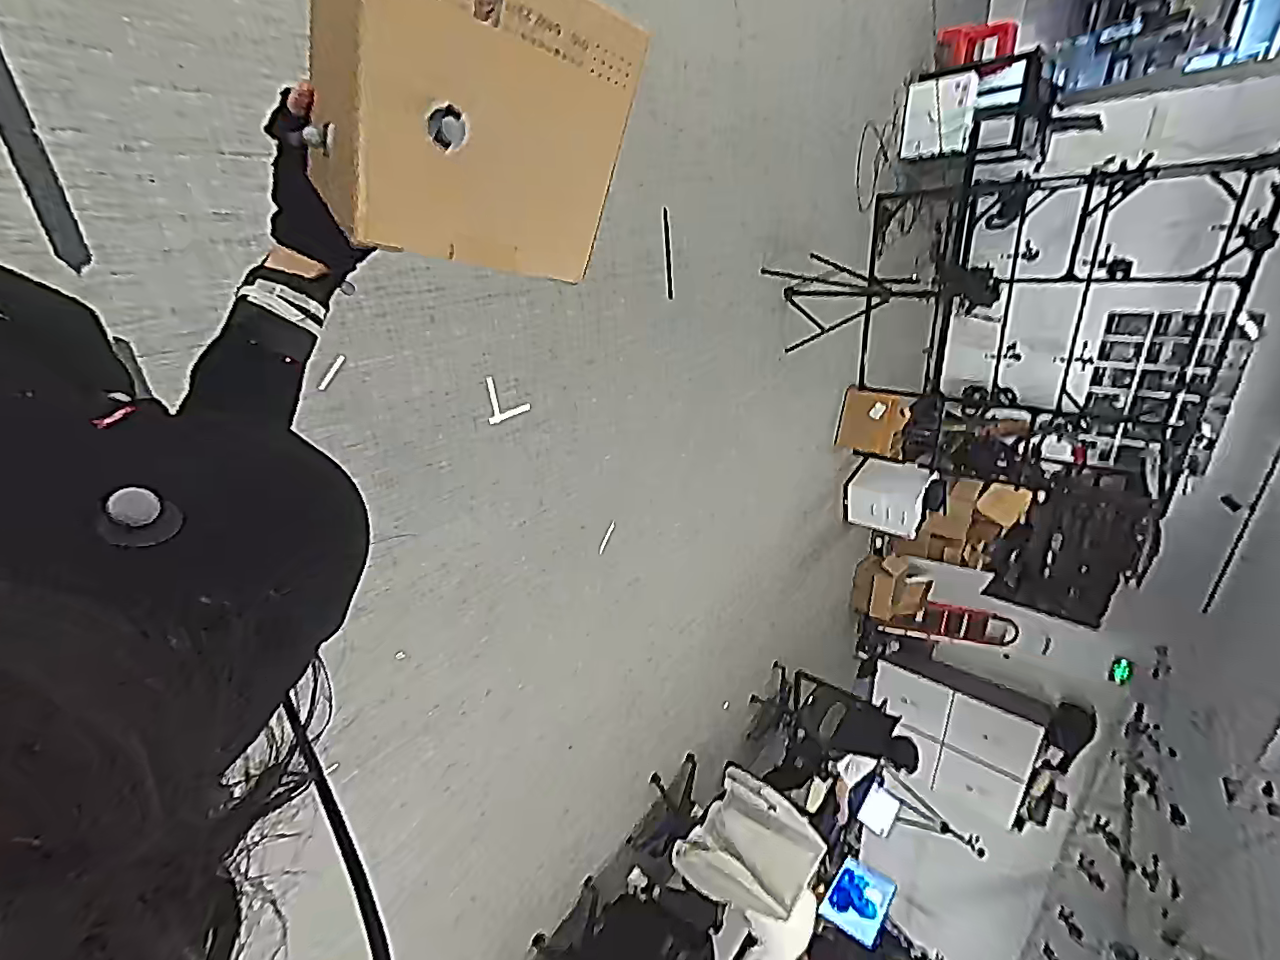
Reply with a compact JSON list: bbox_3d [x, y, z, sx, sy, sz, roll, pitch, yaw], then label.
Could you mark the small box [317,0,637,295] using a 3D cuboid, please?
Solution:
[{"bbox_3d":[-0.121,-0.256,0.385,0.168,0.179,0.176,-3,129,-39],"label":"small box"}]
